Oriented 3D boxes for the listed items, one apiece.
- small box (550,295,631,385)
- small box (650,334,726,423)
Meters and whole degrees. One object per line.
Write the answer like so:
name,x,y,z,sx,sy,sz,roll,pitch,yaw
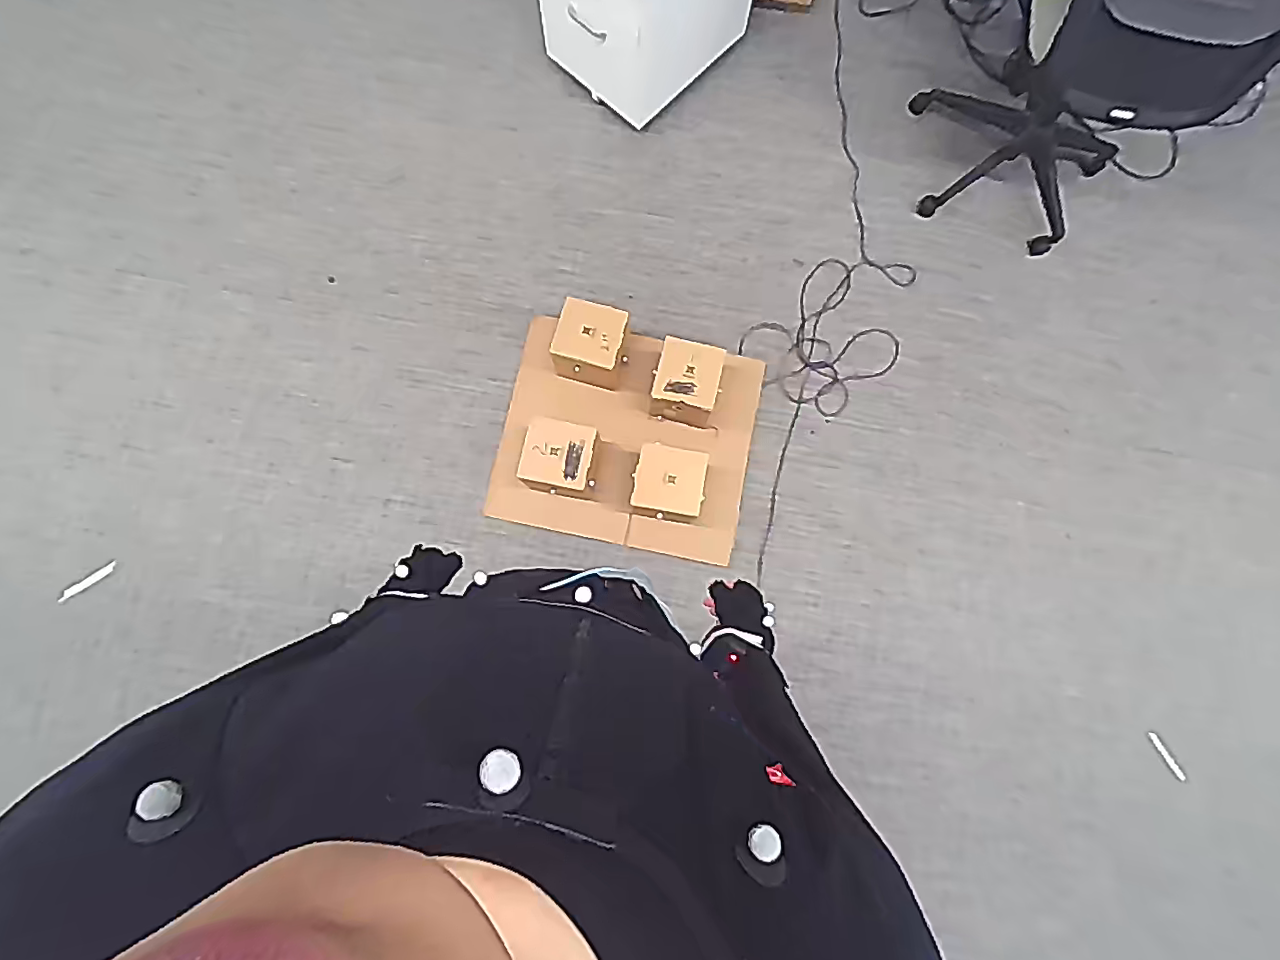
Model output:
small box,-0.131,-0.379,1.496,0.179,0.176,0.168,16,81,1
small box,0.127,-0.271,1.487,0.168,0.176,0.179,14,80,3
